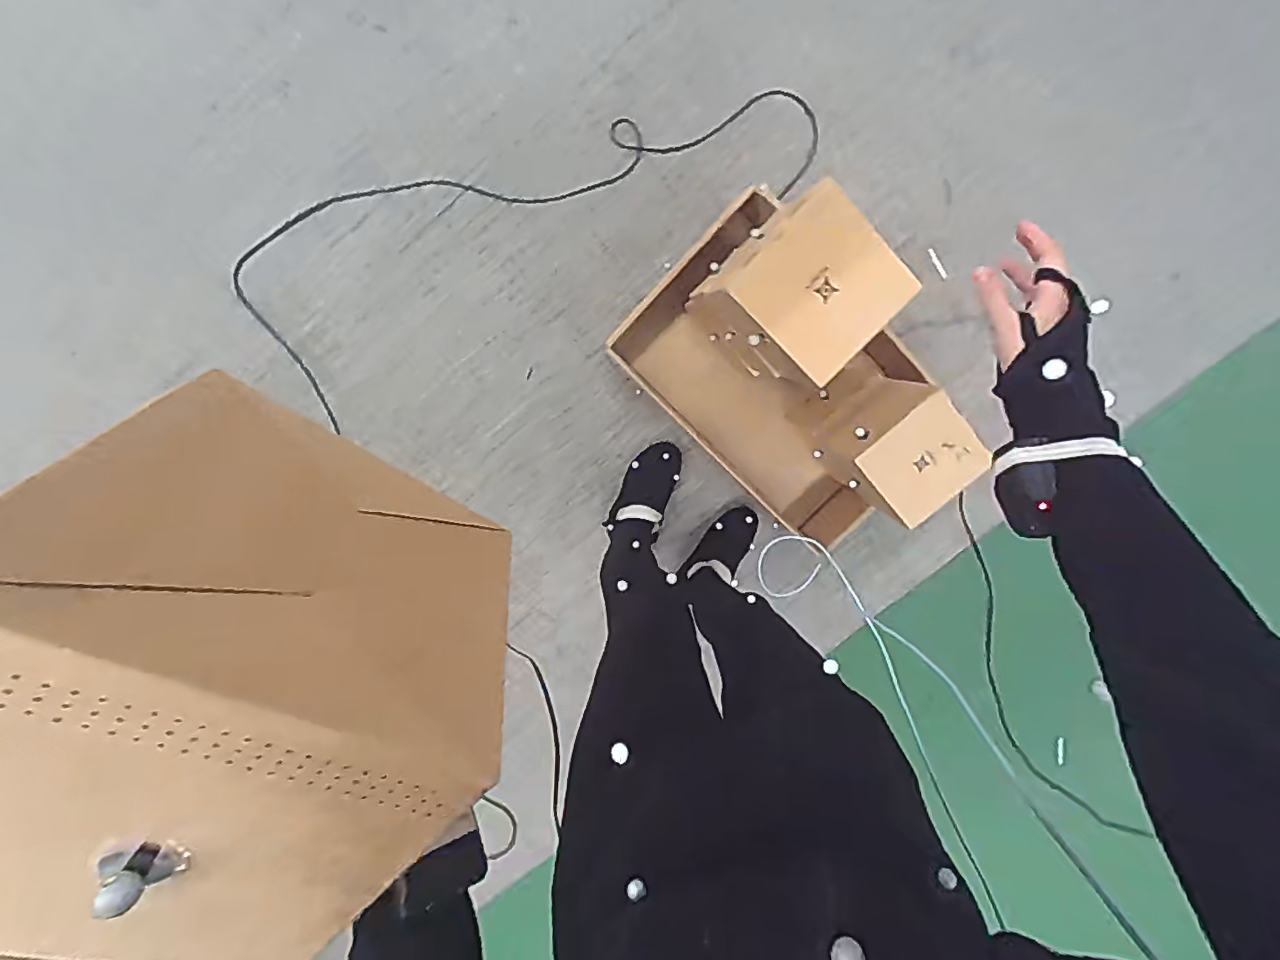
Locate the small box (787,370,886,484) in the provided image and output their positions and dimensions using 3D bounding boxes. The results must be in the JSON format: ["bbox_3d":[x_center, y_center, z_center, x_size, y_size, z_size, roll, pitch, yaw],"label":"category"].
[{"bbox_3d":[0.428,-0.105,1.100,0.168,0.176,0.179,-41,102,7],"label":"small box"}]

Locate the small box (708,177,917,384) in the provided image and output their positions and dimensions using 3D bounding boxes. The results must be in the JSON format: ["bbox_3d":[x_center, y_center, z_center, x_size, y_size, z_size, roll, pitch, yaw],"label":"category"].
[{"bbox_3d":[0.212,-0.252,0.714,0.179,0.176,0.168,42,100,-11],"label":"small box"}]

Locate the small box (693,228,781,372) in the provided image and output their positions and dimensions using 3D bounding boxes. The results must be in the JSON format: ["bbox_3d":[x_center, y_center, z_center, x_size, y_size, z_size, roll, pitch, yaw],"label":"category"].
[{"bbox_3d":[0.204,-0.294,0.870,0.168,0.176,0.179,-41,104,8],"label":"small box"}]

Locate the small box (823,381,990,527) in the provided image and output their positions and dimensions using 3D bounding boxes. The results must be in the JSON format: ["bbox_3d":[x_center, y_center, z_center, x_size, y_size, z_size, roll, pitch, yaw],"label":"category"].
[{"bbox_3d":[0.446,-0.053,0.943,0.179,0.176,0.168,-42,104,6],"label":"small box"}]
